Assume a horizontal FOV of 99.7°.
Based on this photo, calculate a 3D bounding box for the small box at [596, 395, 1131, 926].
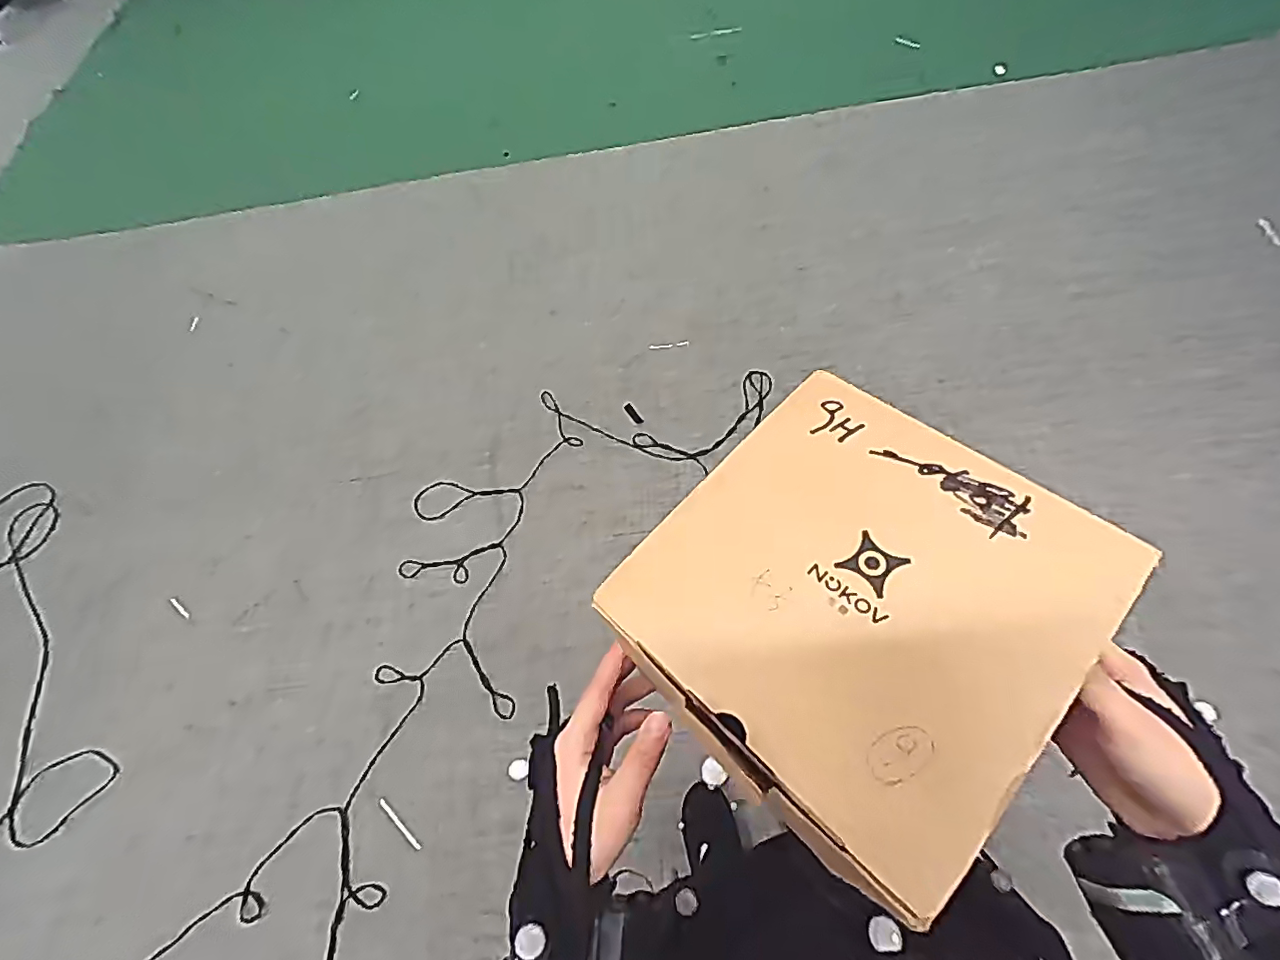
[{"bbox_3d":[0.106,0.093,0.310,0.168,0.176,0.179,38,73,27],"label":"small box"}]
